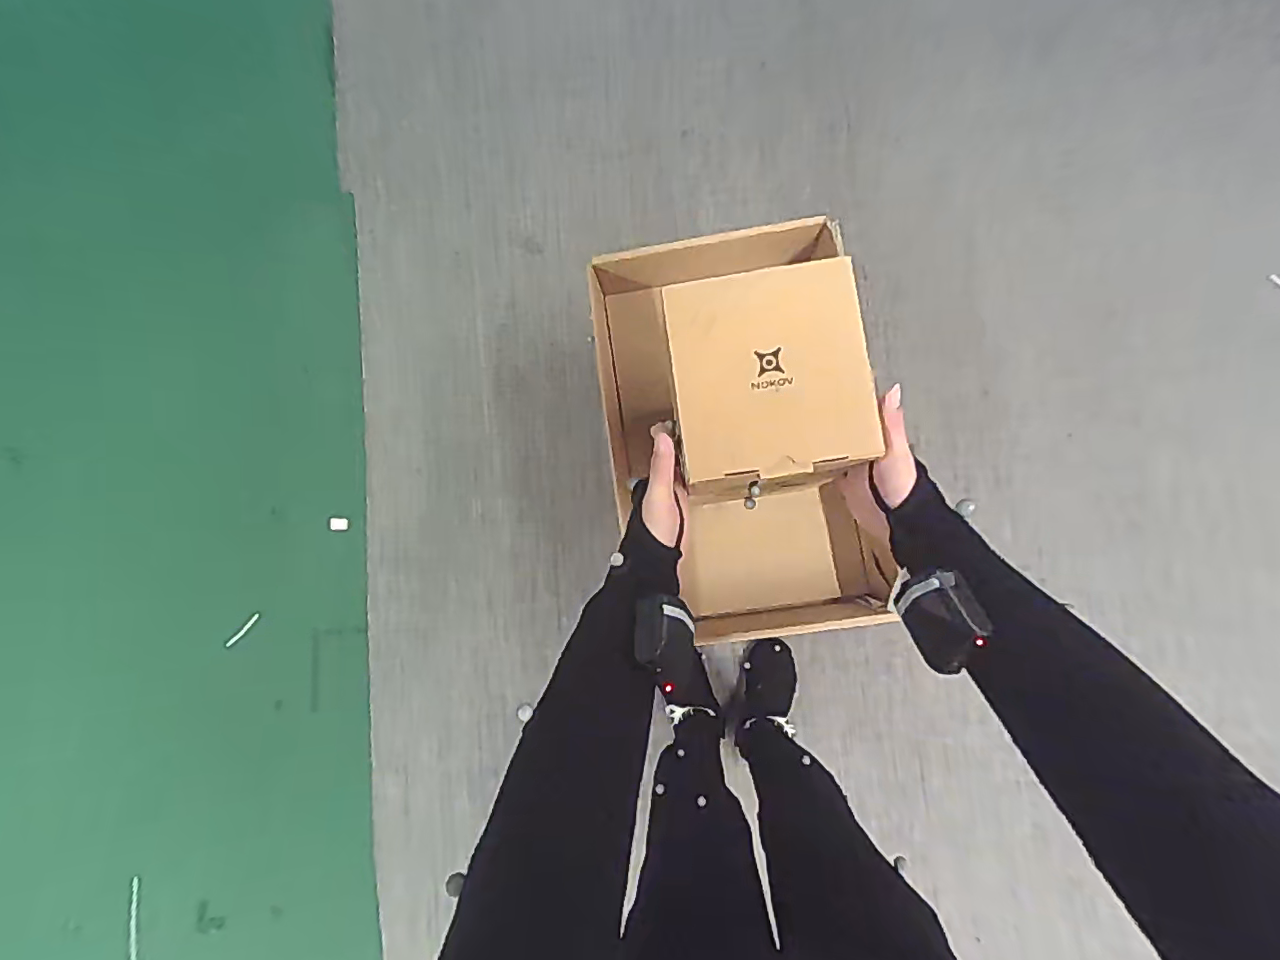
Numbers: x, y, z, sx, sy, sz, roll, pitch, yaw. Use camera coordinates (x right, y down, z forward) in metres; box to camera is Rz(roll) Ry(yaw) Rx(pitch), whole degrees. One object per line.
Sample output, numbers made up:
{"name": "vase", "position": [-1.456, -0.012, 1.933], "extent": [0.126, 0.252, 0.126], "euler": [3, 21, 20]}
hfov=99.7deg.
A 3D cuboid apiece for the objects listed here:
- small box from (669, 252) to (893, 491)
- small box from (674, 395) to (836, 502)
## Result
{"name": "small box", "position": [0.119, -0.090, 0.531], "extent": [0.168, 0.176, 0.179], "euler": [-8, 85, 3]}
{"name": "small box", "position": [0.133, -0.071, 0.692], "extent": [0.168, 0.176, 0.179], "euler": [-8, 84, 4]}
